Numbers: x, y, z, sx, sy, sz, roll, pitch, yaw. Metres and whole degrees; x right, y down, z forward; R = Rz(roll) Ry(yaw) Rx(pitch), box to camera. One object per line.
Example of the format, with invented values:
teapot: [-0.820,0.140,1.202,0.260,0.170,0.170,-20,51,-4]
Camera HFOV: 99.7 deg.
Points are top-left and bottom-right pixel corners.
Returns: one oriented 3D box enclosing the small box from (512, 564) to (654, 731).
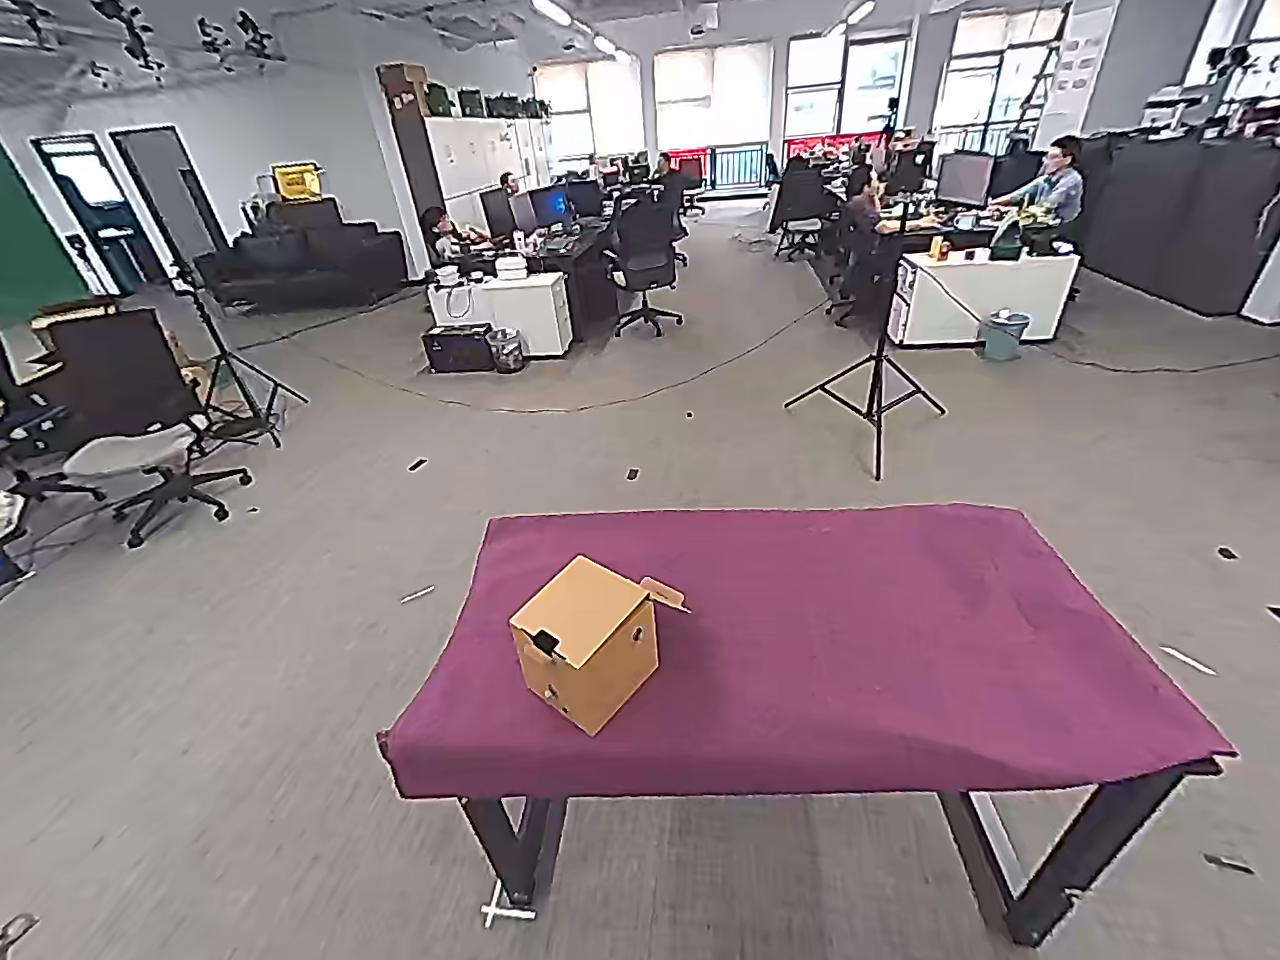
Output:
small box: [-0.089,0.282,0.928,0.168,0.176,0.179,20,40,35]
